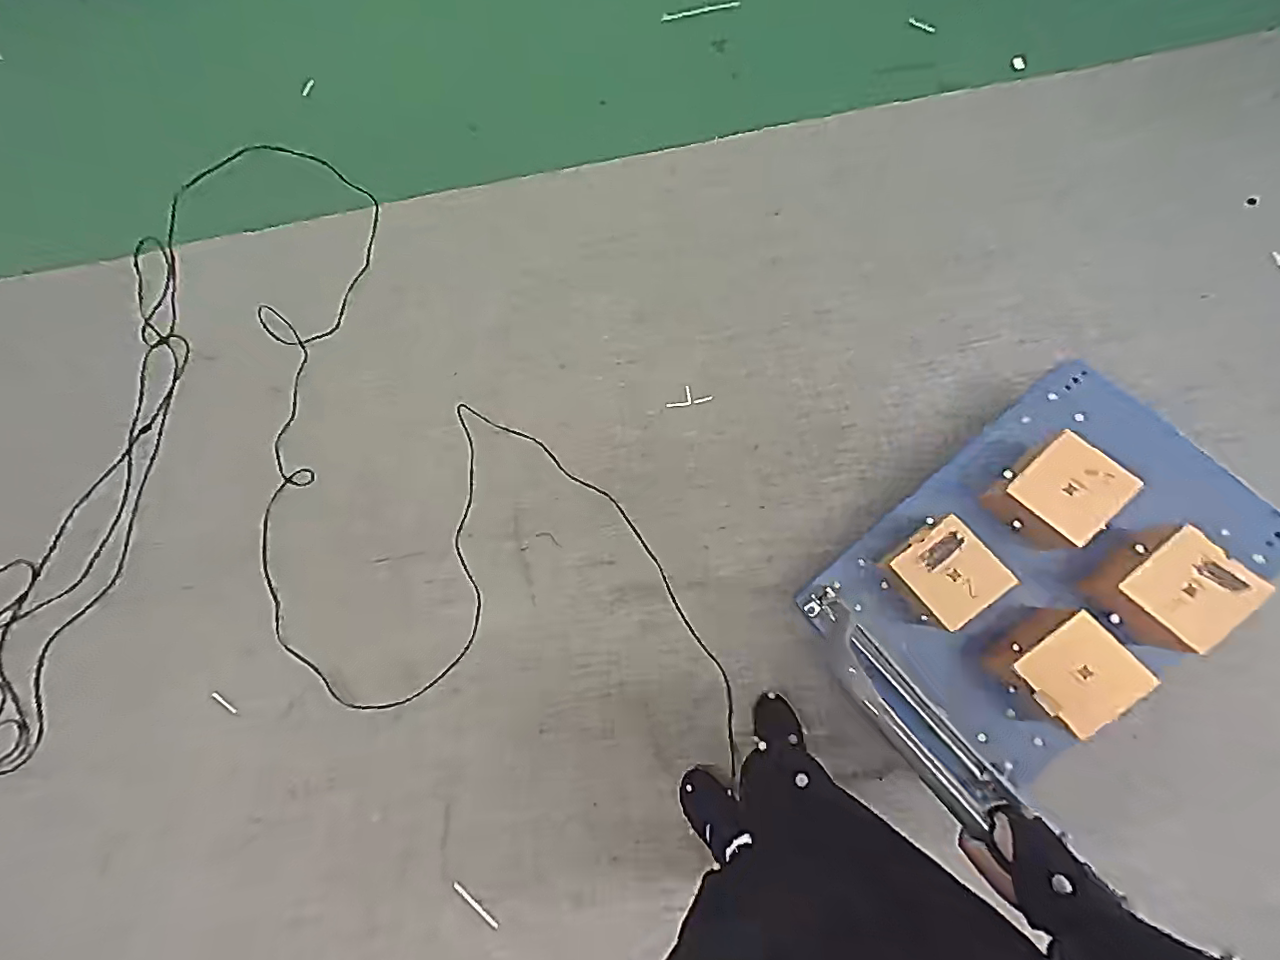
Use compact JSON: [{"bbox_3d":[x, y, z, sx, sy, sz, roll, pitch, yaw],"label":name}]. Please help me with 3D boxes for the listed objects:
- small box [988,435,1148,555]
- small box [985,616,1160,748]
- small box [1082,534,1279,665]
[{"bbox_3d":[0.867,0.040,1.124,0.179,0.176,0.168,-44,73,2],"label":"small box"},{"bbox_3d":[0.831,0.383,1.065,0.179,0.176,0.168,-39,73,4],"label":"small box"},{"bbox_3d":[1.024,0.227,1.048,0.179,0.176,0.168,-43,72,3],"label":"small box"}]
